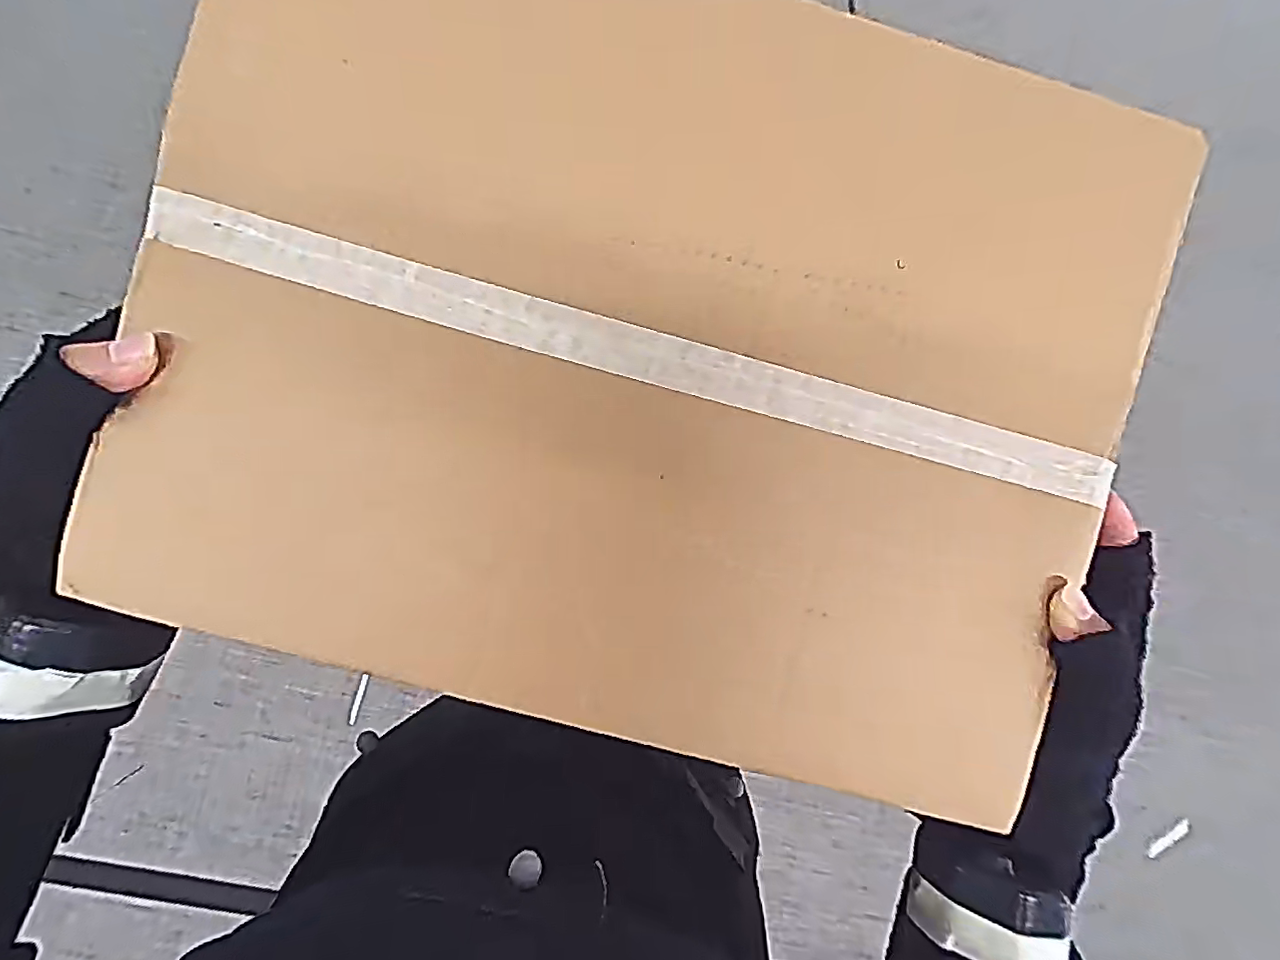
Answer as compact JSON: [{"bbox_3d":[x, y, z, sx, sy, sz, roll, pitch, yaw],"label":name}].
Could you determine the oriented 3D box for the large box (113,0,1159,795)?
[{"bbox_3d":[-0.001,-0.053,0.384,0.408,0.320,0.320,16,90,-3],"label":"large box"}]
